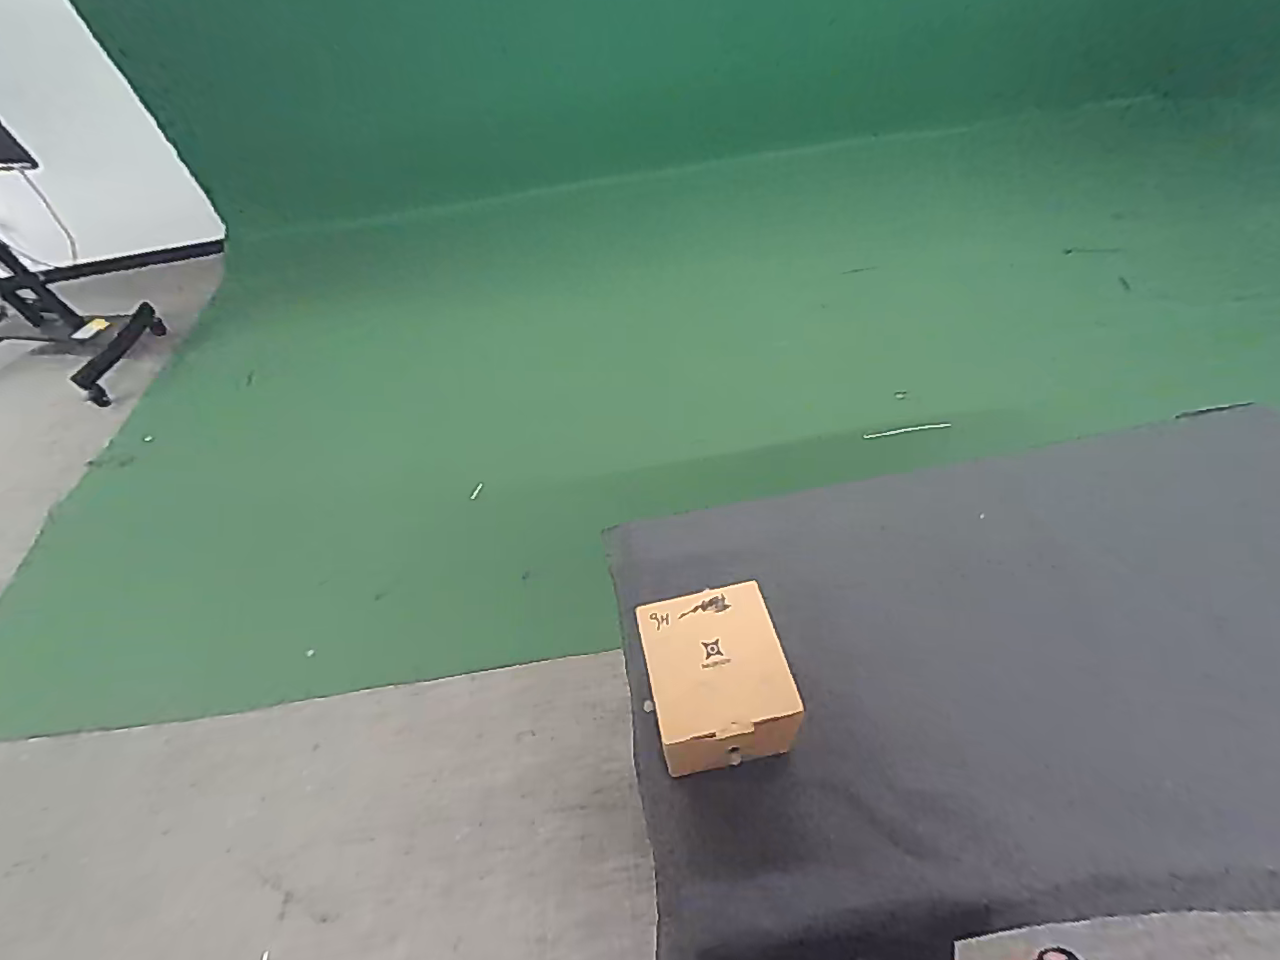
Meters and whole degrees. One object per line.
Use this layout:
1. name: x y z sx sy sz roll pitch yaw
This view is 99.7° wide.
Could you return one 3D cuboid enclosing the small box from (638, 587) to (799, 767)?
1. small box: 0.098 0.272 0.730 0.168 0.176 0.179 -11 52 -3
